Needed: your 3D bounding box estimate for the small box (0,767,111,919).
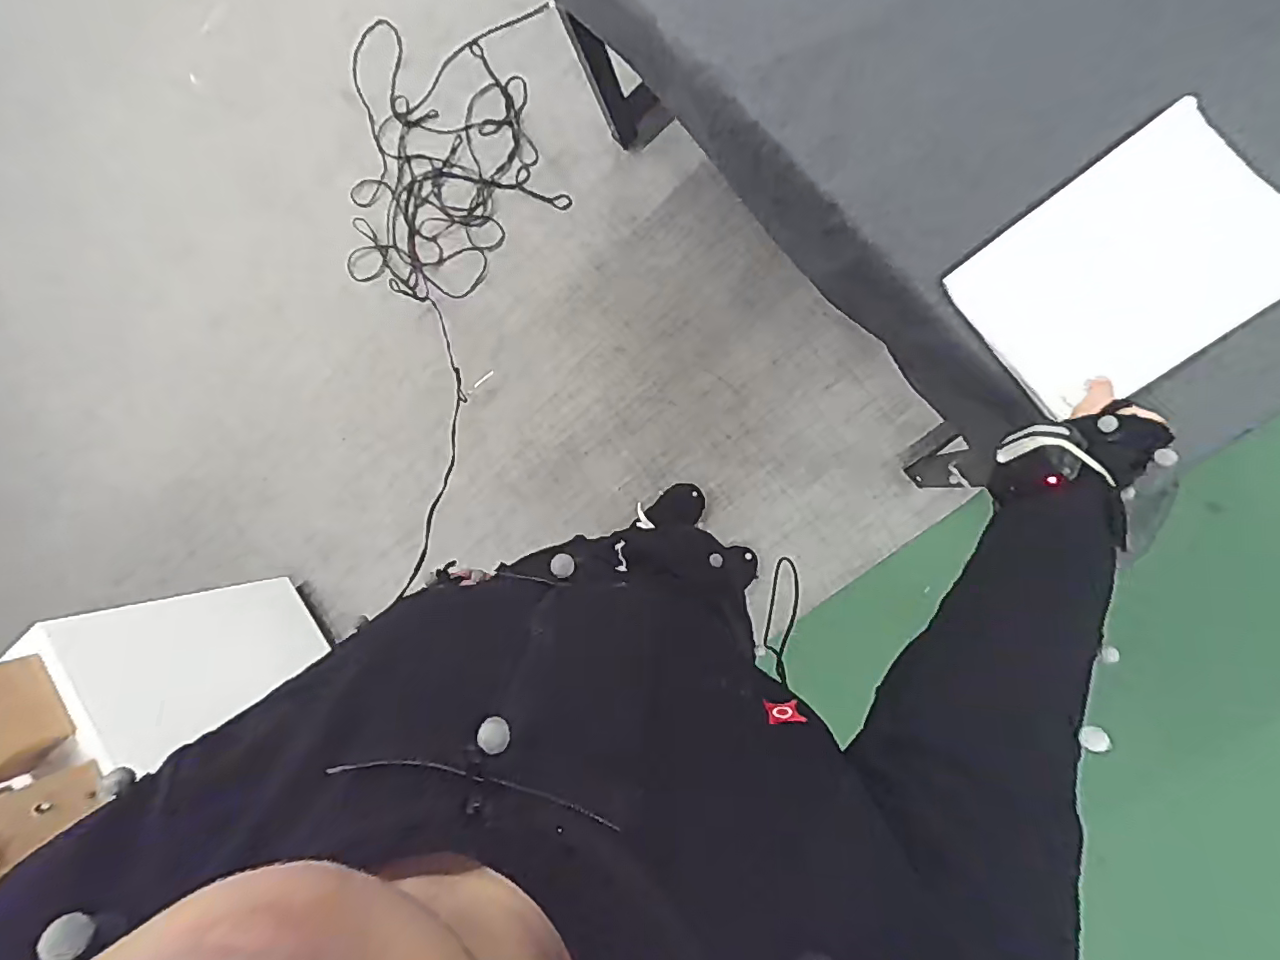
[{"bbox_3d":[-1.046,0.622,0.906,0.179,0.176,0.168,-34,80,11],"label":"small box"}]
